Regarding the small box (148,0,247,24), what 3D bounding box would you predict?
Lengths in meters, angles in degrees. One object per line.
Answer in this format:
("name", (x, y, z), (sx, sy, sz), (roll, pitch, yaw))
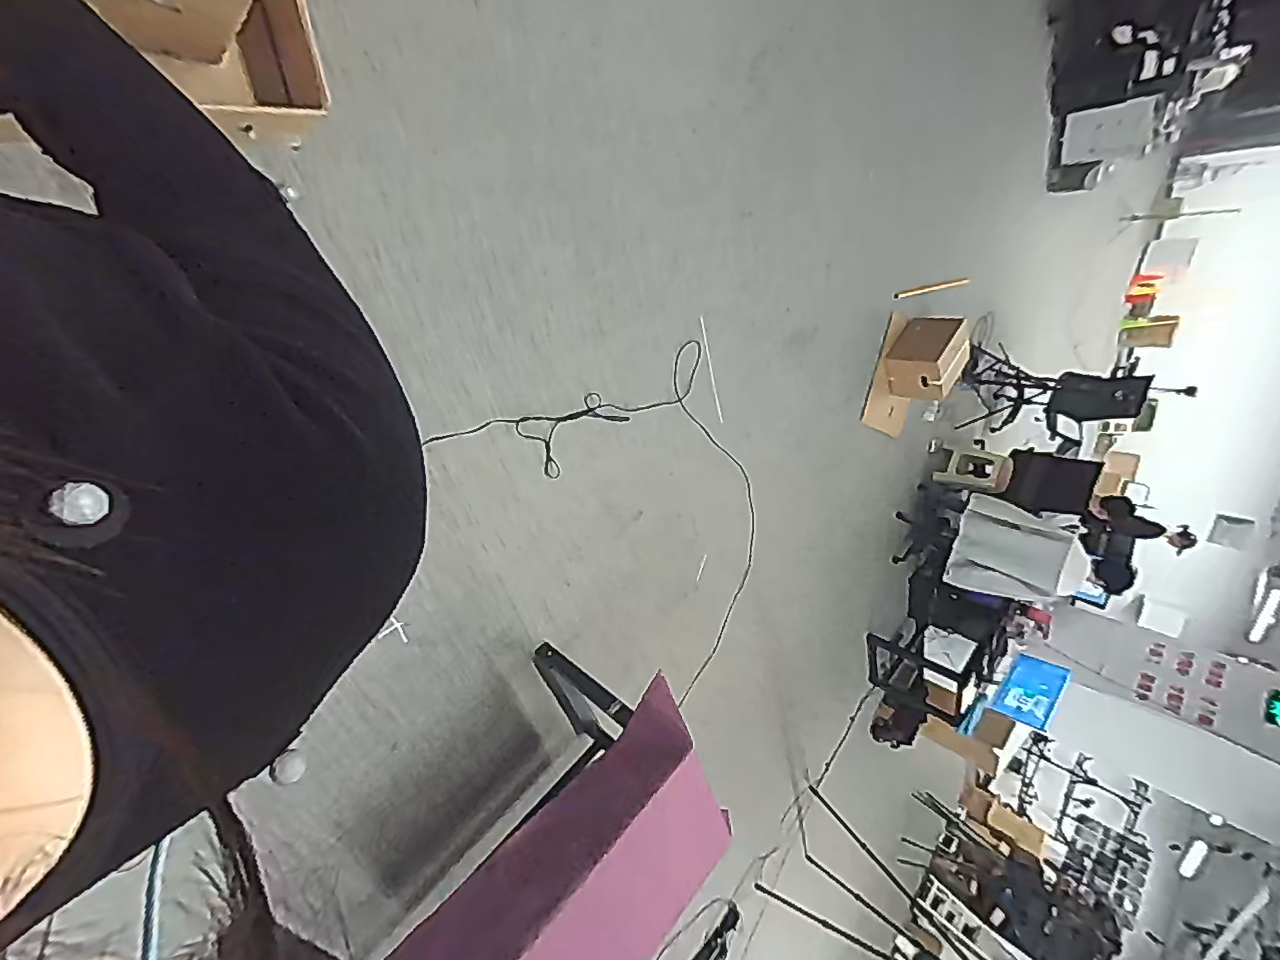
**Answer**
("small box", (-0.471, -0.565, 0.494), (0.168, 0.176, 0.179), (-17, 116, -39))
